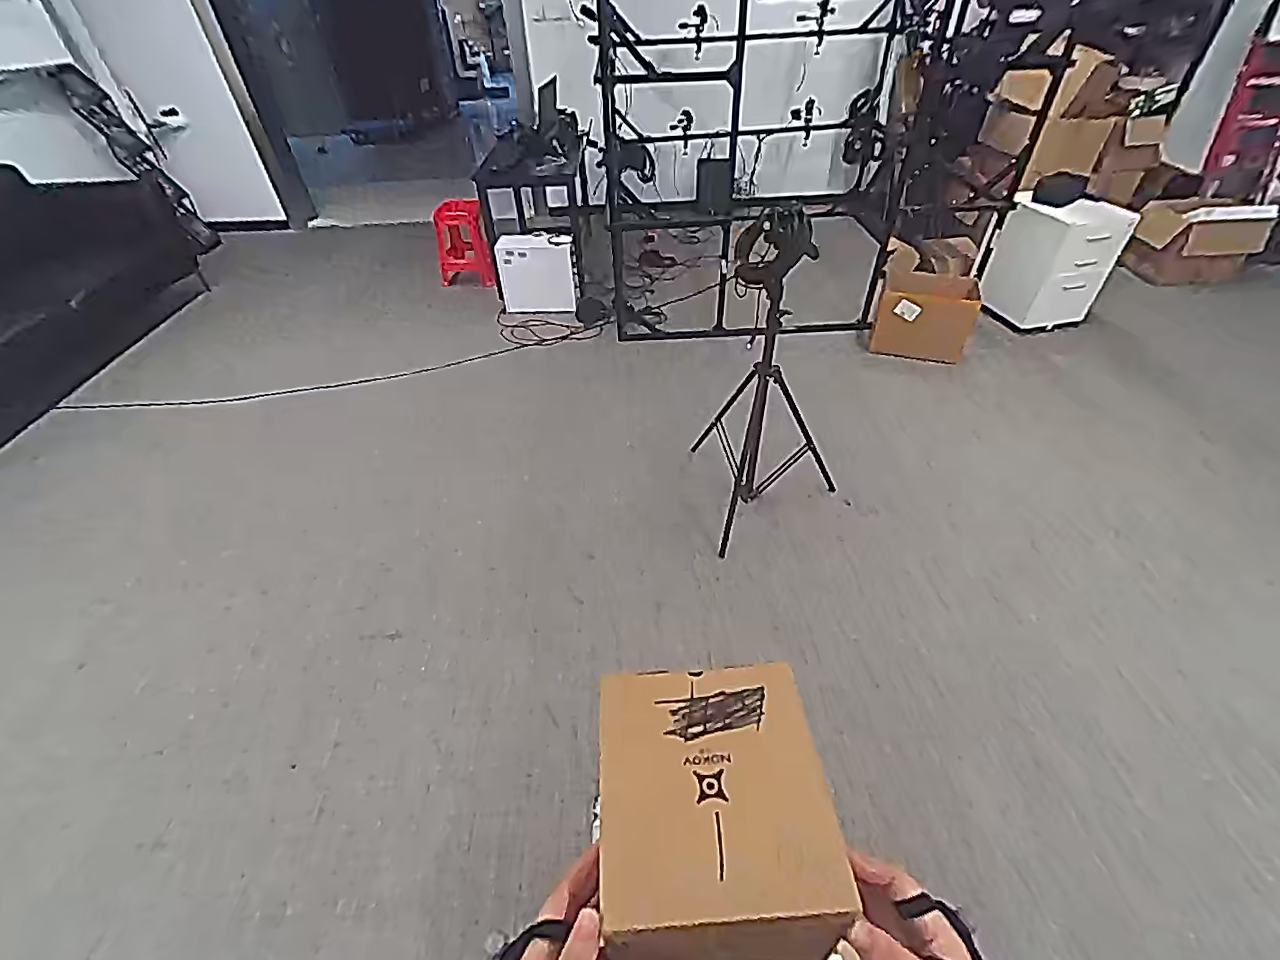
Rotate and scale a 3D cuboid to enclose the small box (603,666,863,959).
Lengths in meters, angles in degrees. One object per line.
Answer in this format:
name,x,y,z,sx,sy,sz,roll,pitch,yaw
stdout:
small box,0.058,0.282,0.449,0.168,0.176,0.179,-5,39,0
